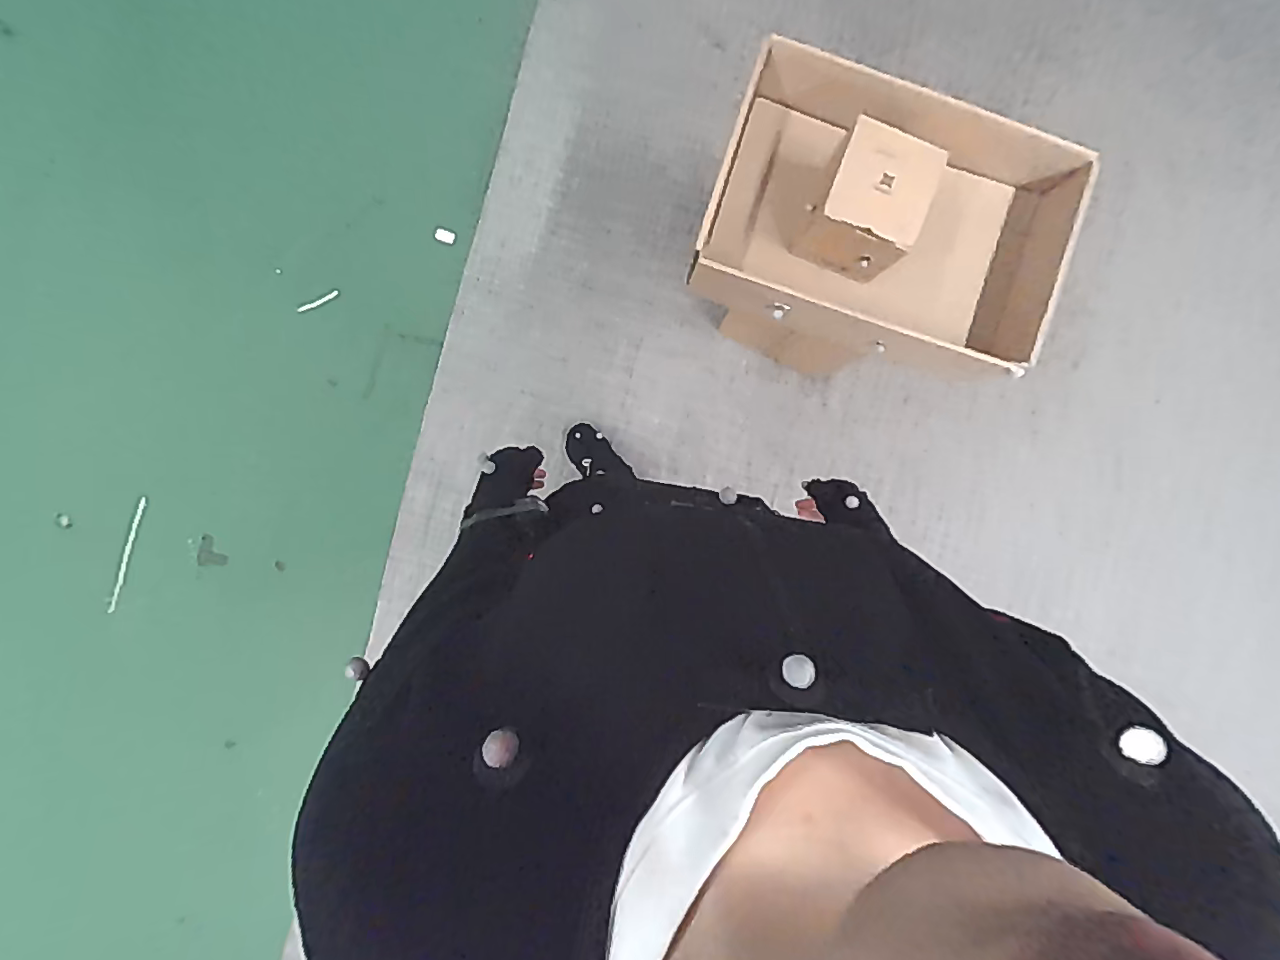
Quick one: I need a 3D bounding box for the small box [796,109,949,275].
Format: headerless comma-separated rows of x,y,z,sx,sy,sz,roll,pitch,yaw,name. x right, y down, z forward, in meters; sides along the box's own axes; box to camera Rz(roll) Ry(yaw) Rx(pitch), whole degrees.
0.398,-0.495,0.960,0.168,0.176,0.179,20,89,-5,small box
